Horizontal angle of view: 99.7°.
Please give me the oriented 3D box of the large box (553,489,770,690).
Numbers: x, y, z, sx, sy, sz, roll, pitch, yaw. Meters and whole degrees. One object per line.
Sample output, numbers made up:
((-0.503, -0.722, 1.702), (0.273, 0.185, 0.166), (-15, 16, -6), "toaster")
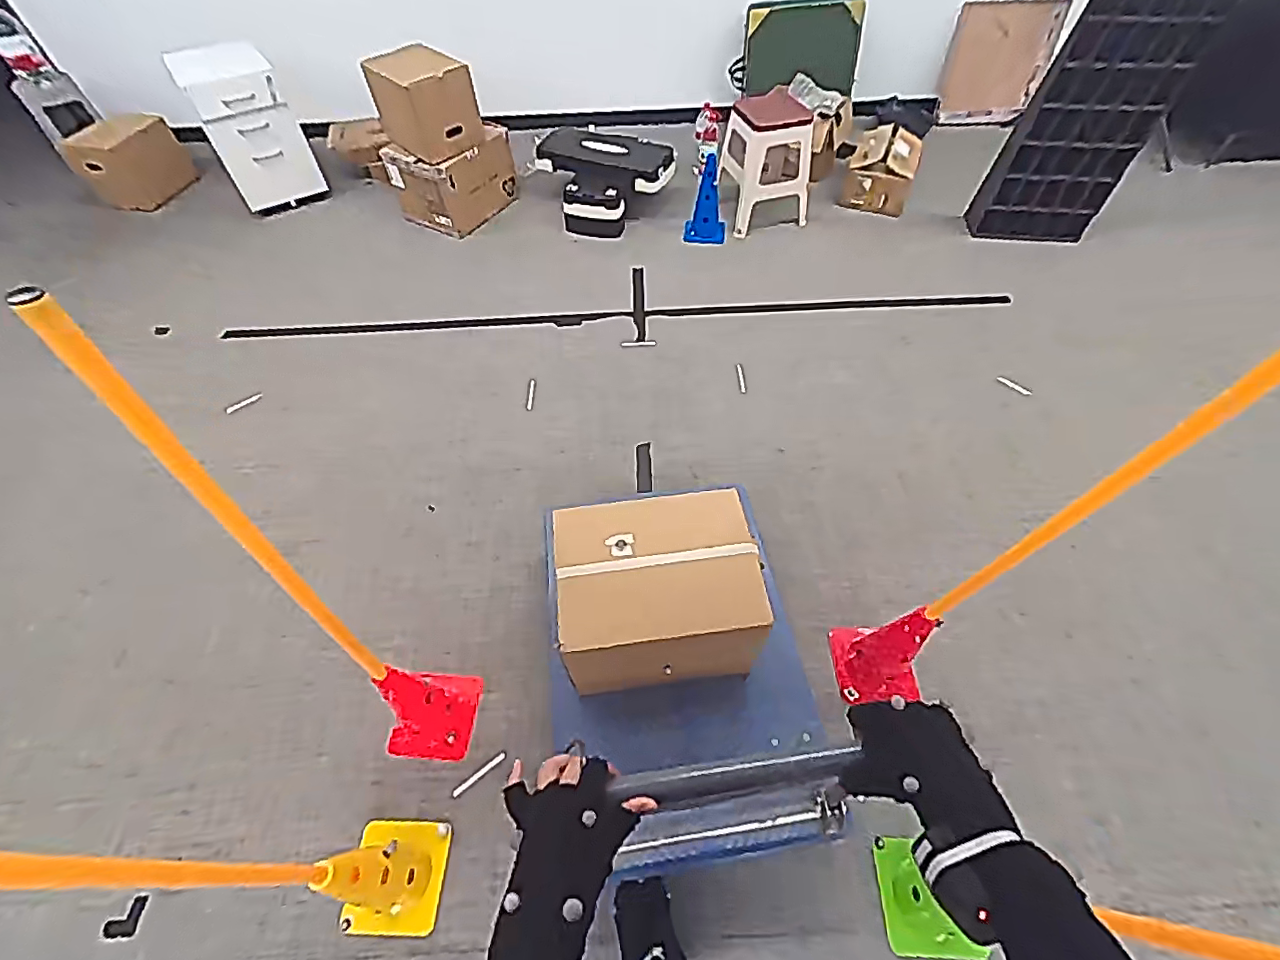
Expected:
((0.036, 0.253, 1.210), (0.408, 0.320, 0.320), (-7, 55, -3), "large box")

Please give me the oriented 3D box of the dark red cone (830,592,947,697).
((0.612, 0.365, 1.272), (0.201, 0.394, 0.202), (-1, 54, -2), "dark red cone")

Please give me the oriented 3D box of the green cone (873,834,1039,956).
((0.607, 0.768, 1.001), (0.202, 0.368, 0.200), (2, 54, 1), "green cone")

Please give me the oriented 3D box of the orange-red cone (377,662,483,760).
((-0.515, 0.489, 1.232), (0.198, 0.360, 0.199), (5, 53, 3), "orange-red cone")
